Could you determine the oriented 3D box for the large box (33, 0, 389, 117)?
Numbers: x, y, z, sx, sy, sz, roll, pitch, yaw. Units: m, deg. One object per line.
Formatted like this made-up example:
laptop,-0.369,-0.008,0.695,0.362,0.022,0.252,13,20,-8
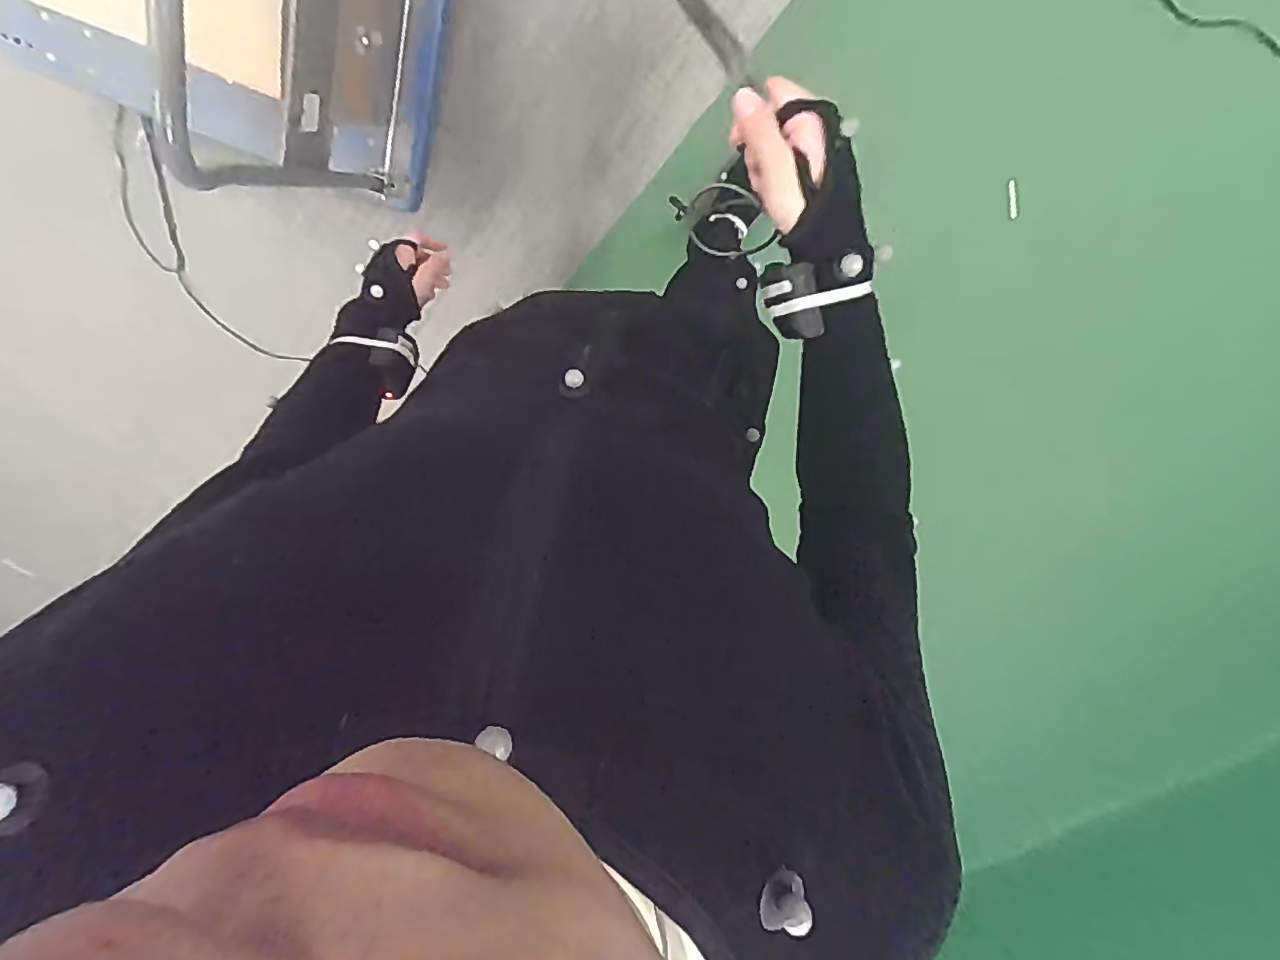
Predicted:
large box,-0.697,-0.876,0.919,0.408,0.320,0.320,19,116,-6
